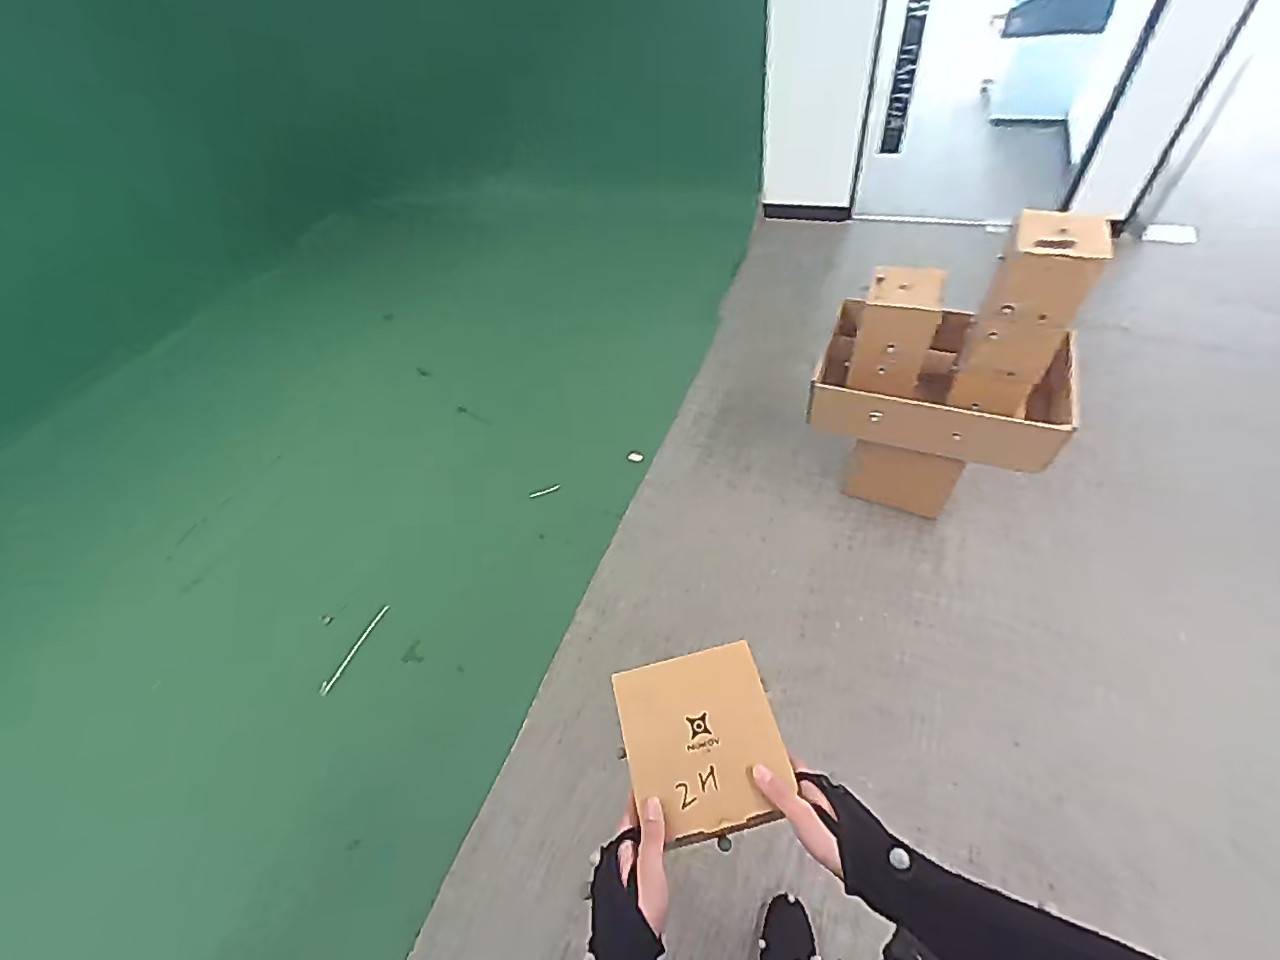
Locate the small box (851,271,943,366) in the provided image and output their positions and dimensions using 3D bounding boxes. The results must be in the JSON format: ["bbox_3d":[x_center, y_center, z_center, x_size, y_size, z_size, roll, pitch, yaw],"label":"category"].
[{"bbox_3d":[0.670,-0.421,1.420,0.179,0.176,0.168,13,56,18],"label":"small box"}]

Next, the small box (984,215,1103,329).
[{"bbox_3d":[0.890,-0.461,1.204,0.168,0.176,0.179,15,56,20],"label":"small box"}]

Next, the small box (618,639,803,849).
[{"bbox_3d":[0.075,0.317,0.645,0.168,0.176,0.179,-13,54,-2],"label":"small box"}]

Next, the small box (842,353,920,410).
[{"bbox_3d":[0.691,-0.323,1.549,0.179,0.176,0.168,15,57,18],"label":"small box"}]
